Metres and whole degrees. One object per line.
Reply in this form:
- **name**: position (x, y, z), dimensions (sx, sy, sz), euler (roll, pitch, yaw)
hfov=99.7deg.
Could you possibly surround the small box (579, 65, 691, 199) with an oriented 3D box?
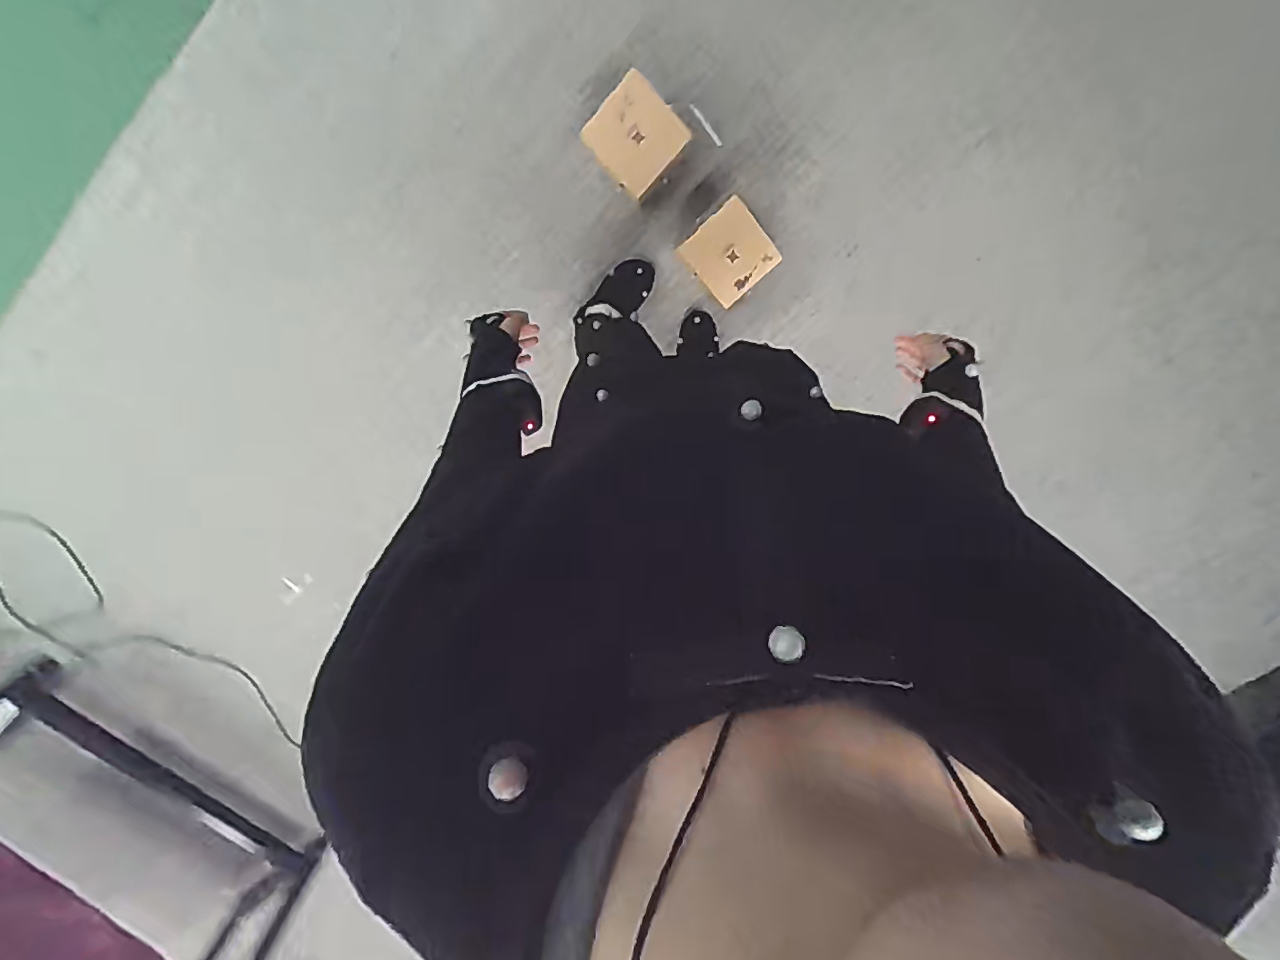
- **small box**: position (-0.009, -0.747, 1.189), dimensions (0.168, 0.176, 0.179), euler (-43, 104, 14)
